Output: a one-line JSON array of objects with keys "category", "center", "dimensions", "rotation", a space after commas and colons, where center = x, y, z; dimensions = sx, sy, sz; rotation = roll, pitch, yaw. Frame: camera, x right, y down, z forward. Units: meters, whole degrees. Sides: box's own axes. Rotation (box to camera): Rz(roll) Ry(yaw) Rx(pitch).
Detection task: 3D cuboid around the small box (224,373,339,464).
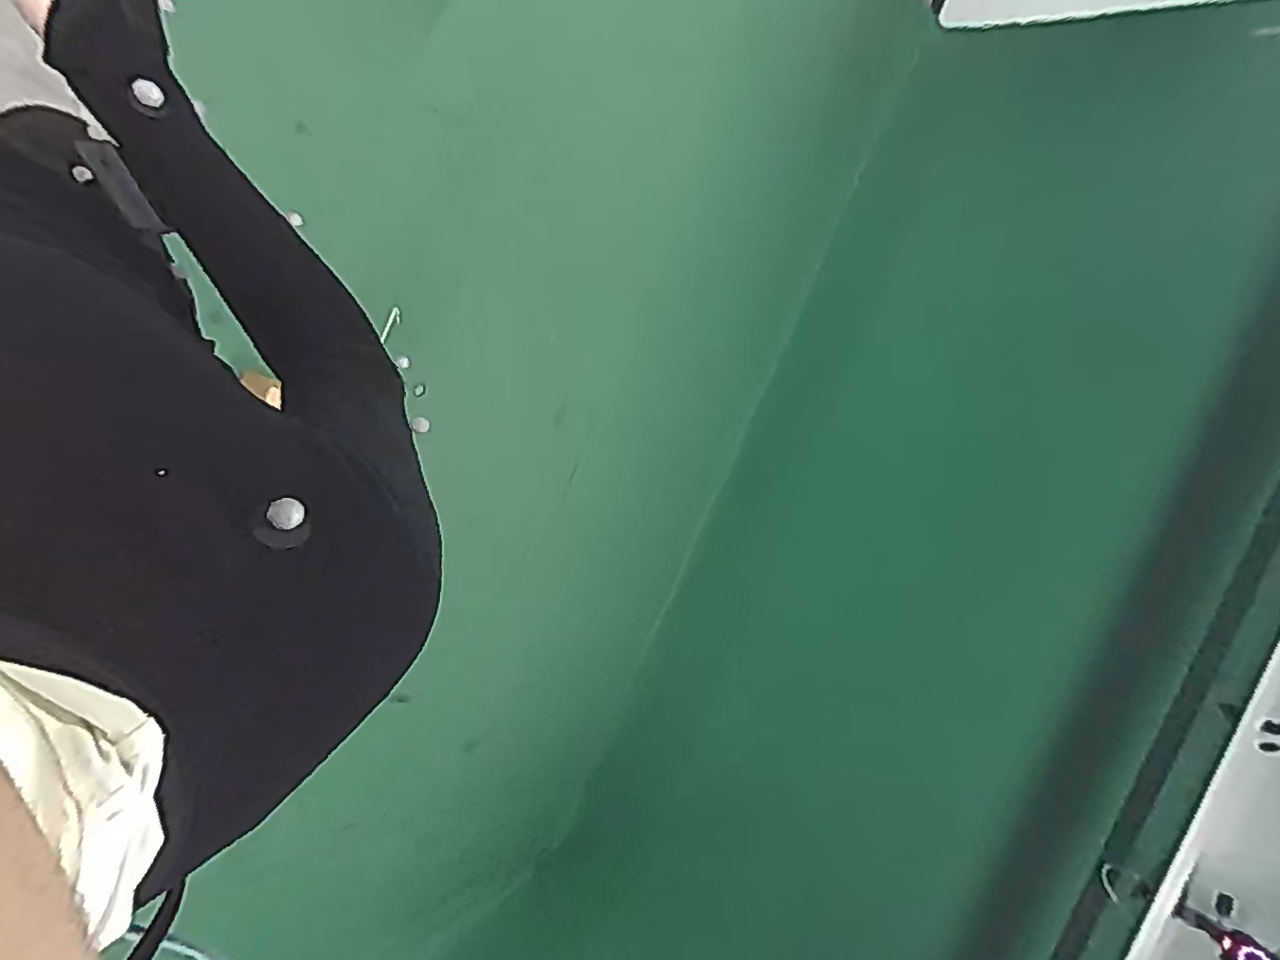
[{"category": "small box", "center": [-0.939, -0.164, 1.418], "dimensions": [0.179, 0.176, 0.168], "rotation": [25, 91, -55]}]
